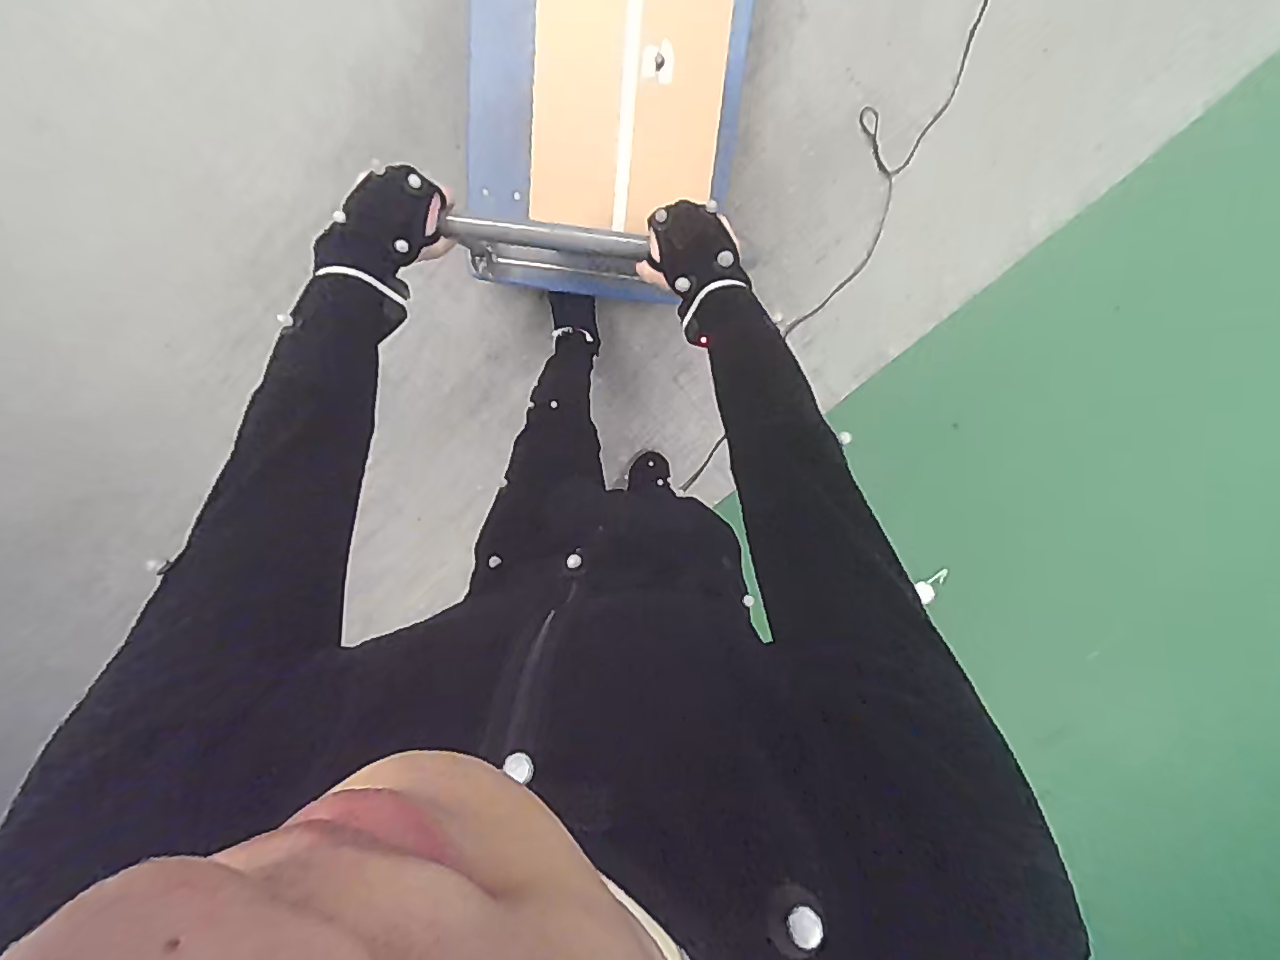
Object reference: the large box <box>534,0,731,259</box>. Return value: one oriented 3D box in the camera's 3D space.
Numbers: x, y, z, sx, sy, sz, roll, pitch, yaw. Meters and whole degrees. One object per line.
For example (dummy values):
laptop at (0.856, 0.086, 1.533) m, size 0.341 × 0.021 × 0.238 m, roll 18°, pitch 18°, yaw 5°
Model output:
large box at (-0.021, -0.672, 1.062) m, size 0.320 × 0.320 × 0.408 m, roll 5°, pitch 107°, yaw -3°
